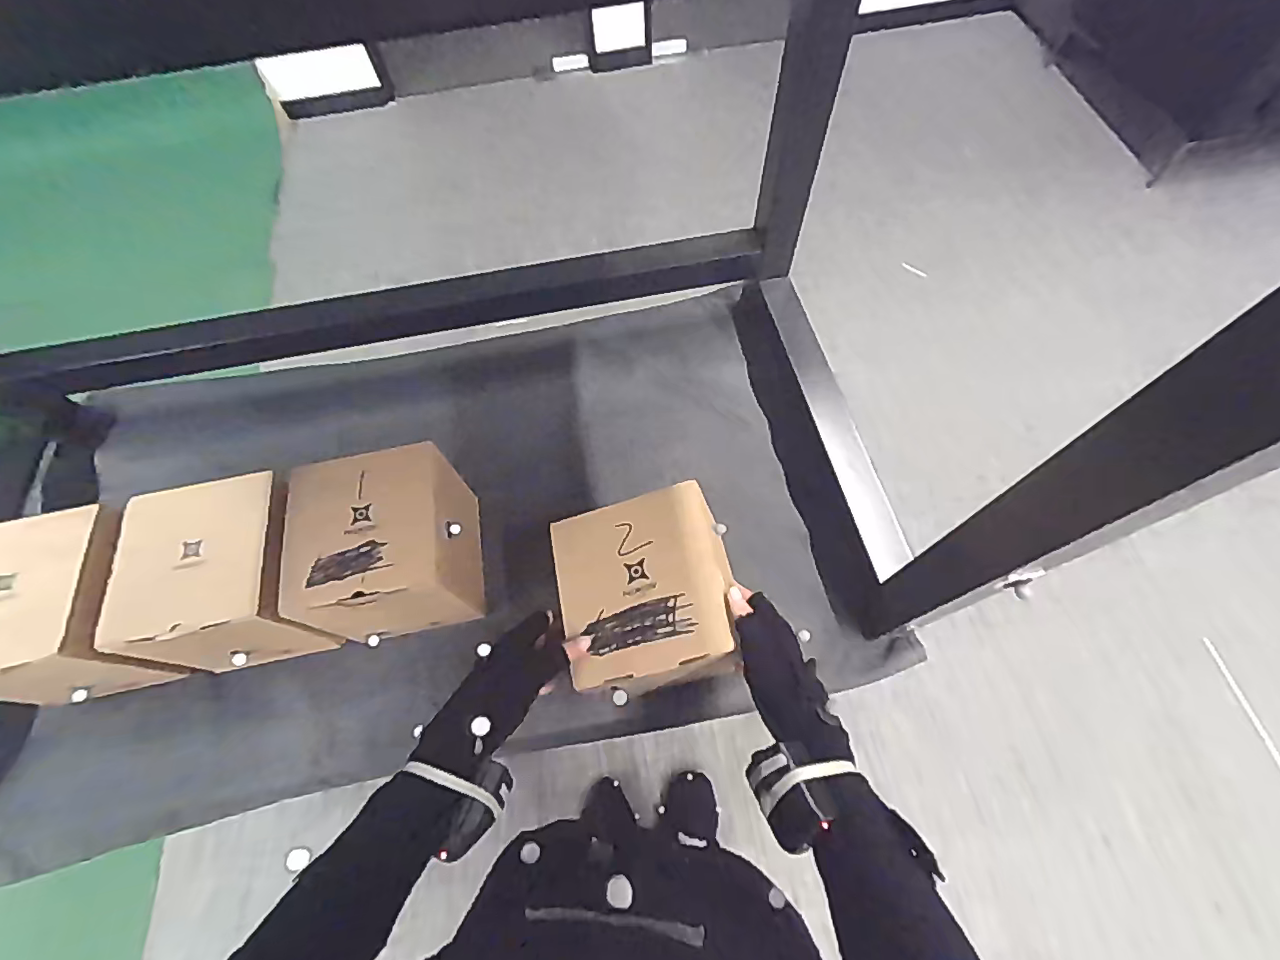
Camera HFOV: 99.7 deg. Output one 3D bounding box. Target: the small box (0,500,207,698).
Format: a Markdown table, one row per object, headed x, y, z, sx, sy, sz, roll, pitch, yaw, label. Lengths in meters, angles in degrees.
| x | y | z | sx | sy | sz | roll | pitch | yaw | label |
| --- | --- | --- | --- | --- | --- | --- | --- | --- | --- |
| -0.668 | 0.148 | 0.646 | 0.168 | 0.176 | 0.179 | -12 | 64 | -2 | small box |
